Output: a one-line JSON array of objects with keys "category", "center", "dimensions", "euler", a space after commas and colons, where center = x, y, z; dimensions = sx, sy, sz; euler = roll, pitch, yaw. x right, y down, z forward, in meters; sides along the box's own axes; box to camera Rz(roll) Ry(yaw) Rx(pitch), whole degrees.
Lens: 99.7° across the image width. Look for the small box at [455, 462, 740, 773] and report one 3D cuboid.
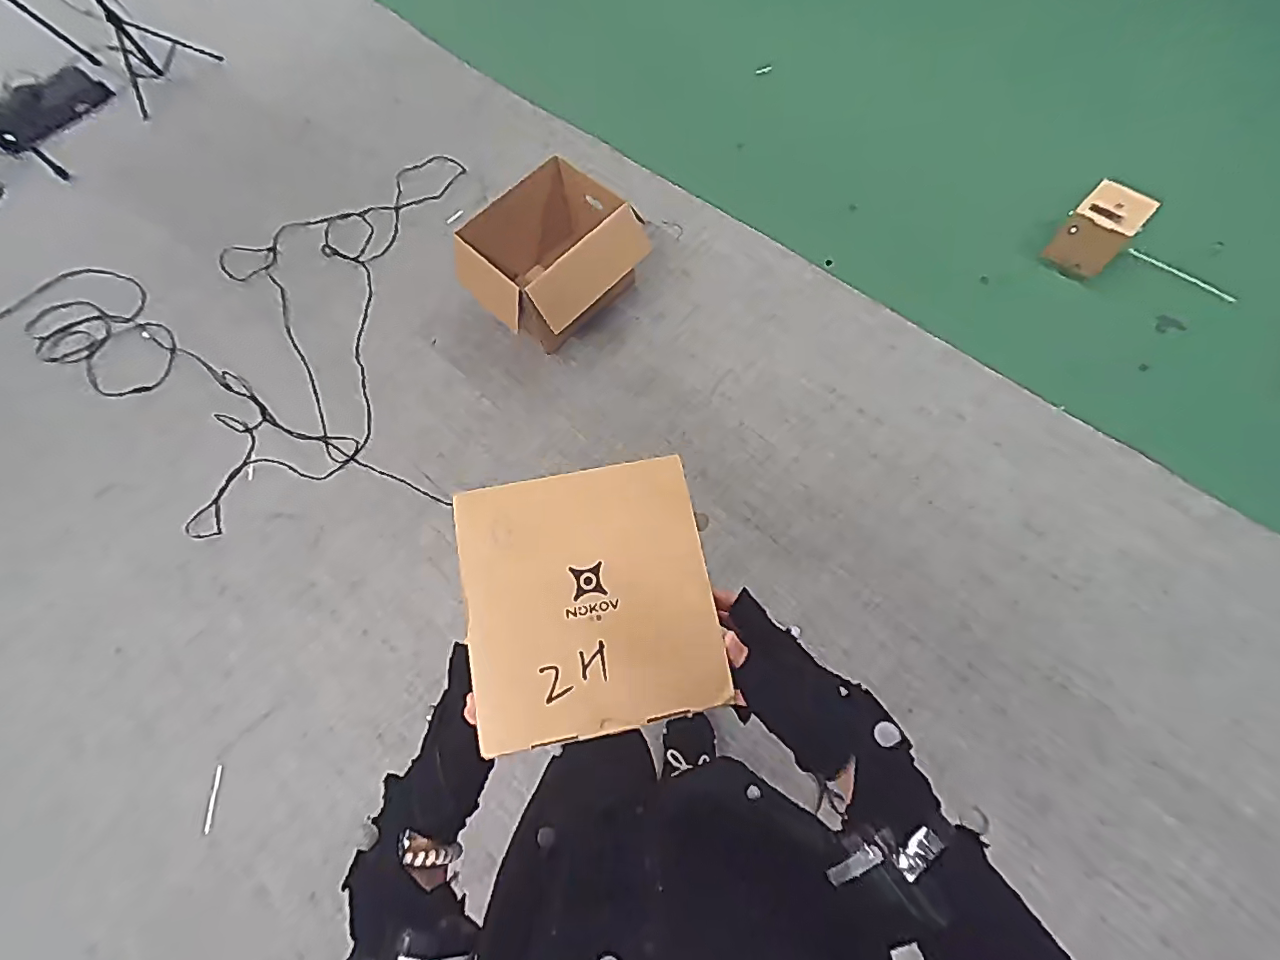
[{"category": "small box", "center": [-0.036, 0.104, 0.428], "dimensions": [0.168, 0.176, 0.179], "euler": [-10, 75, -5]}]
